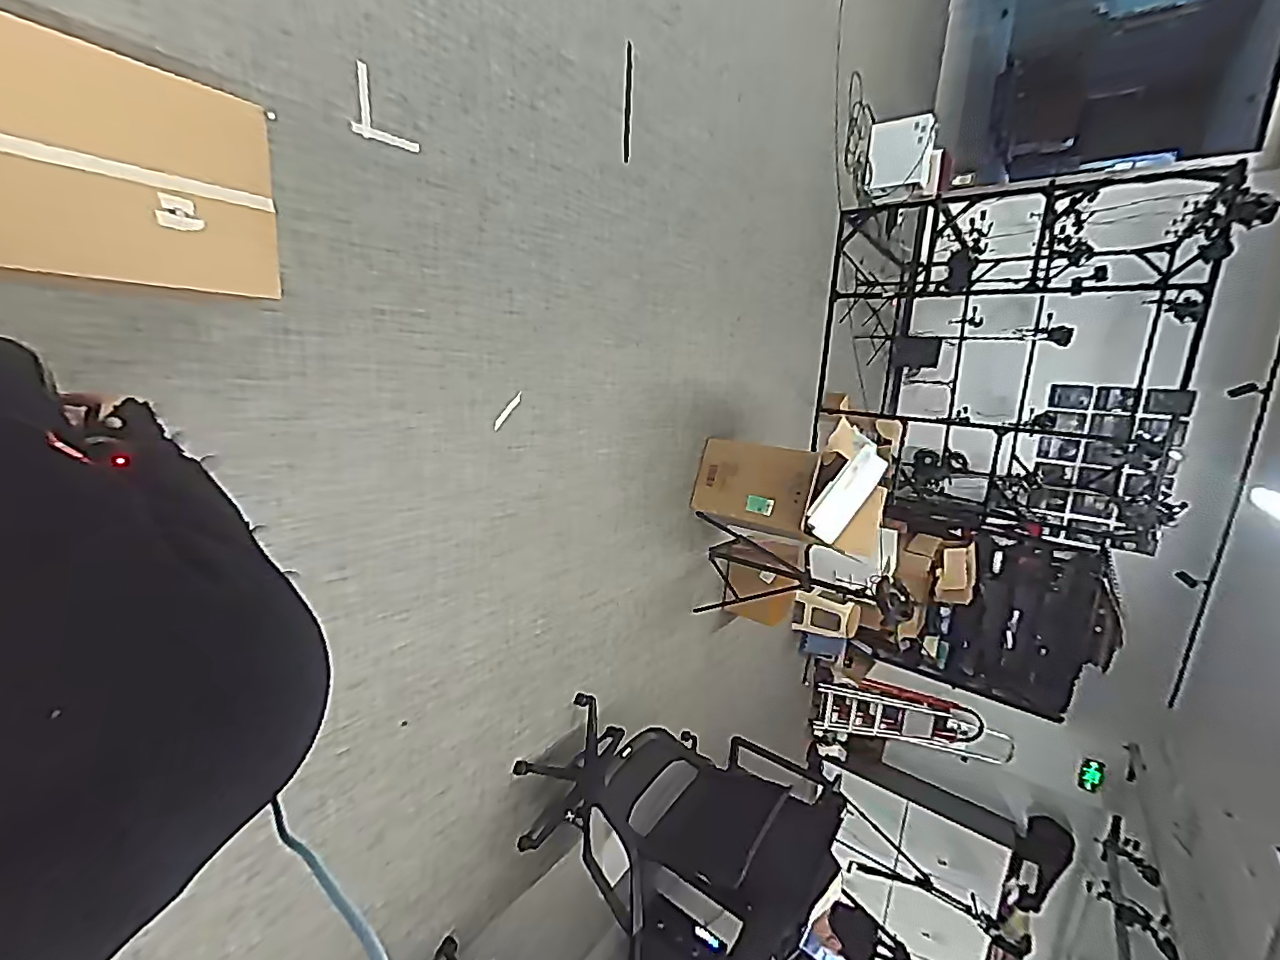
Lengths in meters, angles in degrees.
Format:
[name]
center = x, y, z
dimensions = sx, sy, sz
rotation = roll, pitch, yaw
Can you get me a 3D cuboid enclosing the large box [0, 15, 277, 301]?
[large box]
center = -0.883, -0.470, 0.863
dimensions = 0.408, 0.320, 0.320
rotation = -14, 111, -53
